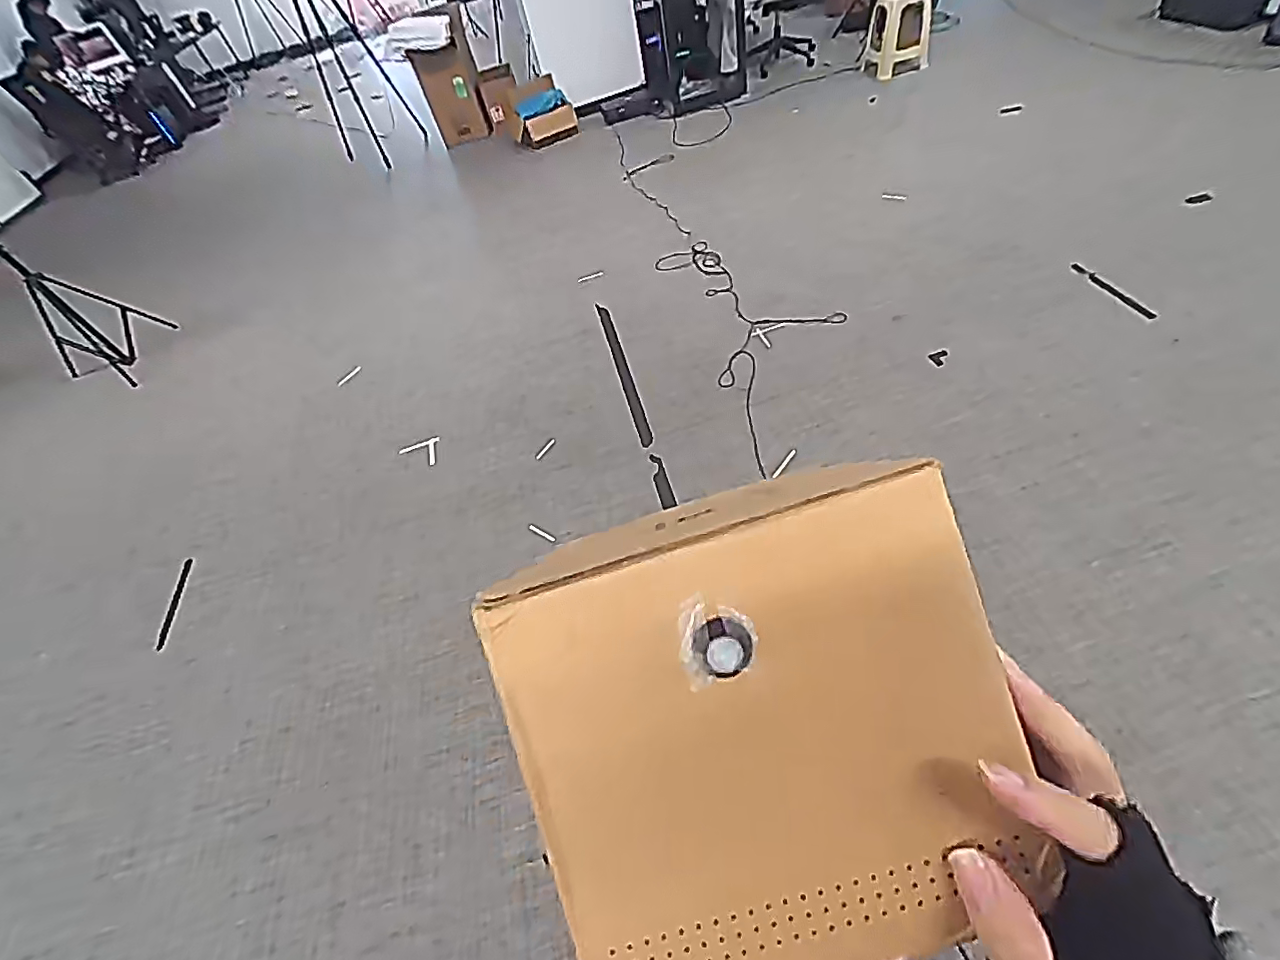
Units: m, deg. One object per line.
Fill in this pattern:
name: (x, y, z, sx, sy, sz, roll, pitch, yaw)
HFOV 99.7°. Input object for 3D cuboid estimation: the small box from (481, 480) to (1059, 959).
small box: (0.051, 0.106, 0.270, 0.179, 0.168, 0.176, -17, 89, 2)
